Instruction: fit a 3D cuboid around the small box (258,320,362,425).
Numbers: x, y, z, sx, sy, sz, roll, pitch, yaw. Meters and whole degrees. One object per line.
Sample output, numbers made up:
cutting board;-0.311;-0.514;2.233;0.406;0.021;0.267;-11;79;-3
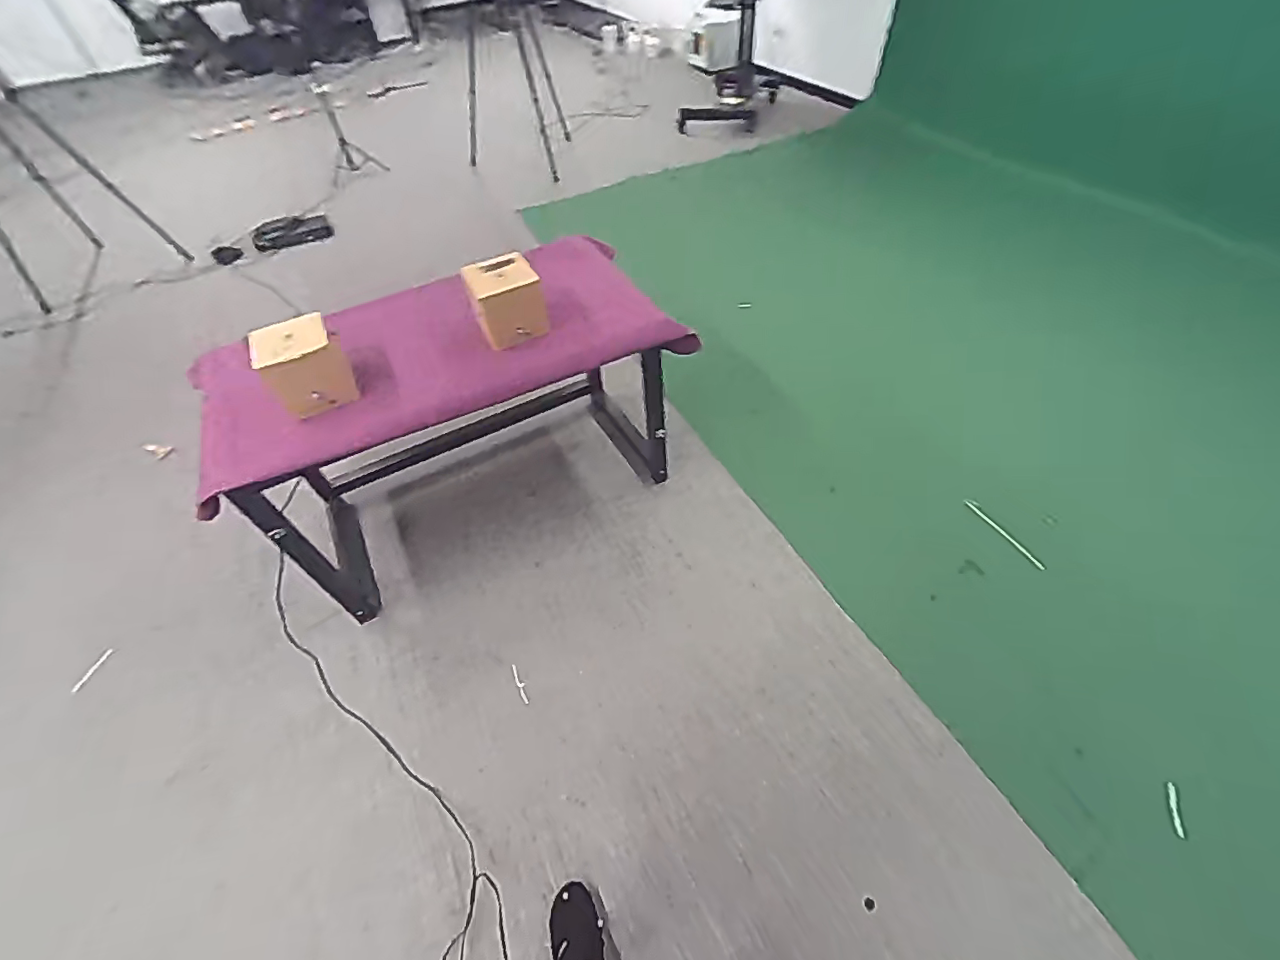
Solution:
small box;-0.831;-0.271;1.367;0.168;0.176;0.179;-24;52;-15
